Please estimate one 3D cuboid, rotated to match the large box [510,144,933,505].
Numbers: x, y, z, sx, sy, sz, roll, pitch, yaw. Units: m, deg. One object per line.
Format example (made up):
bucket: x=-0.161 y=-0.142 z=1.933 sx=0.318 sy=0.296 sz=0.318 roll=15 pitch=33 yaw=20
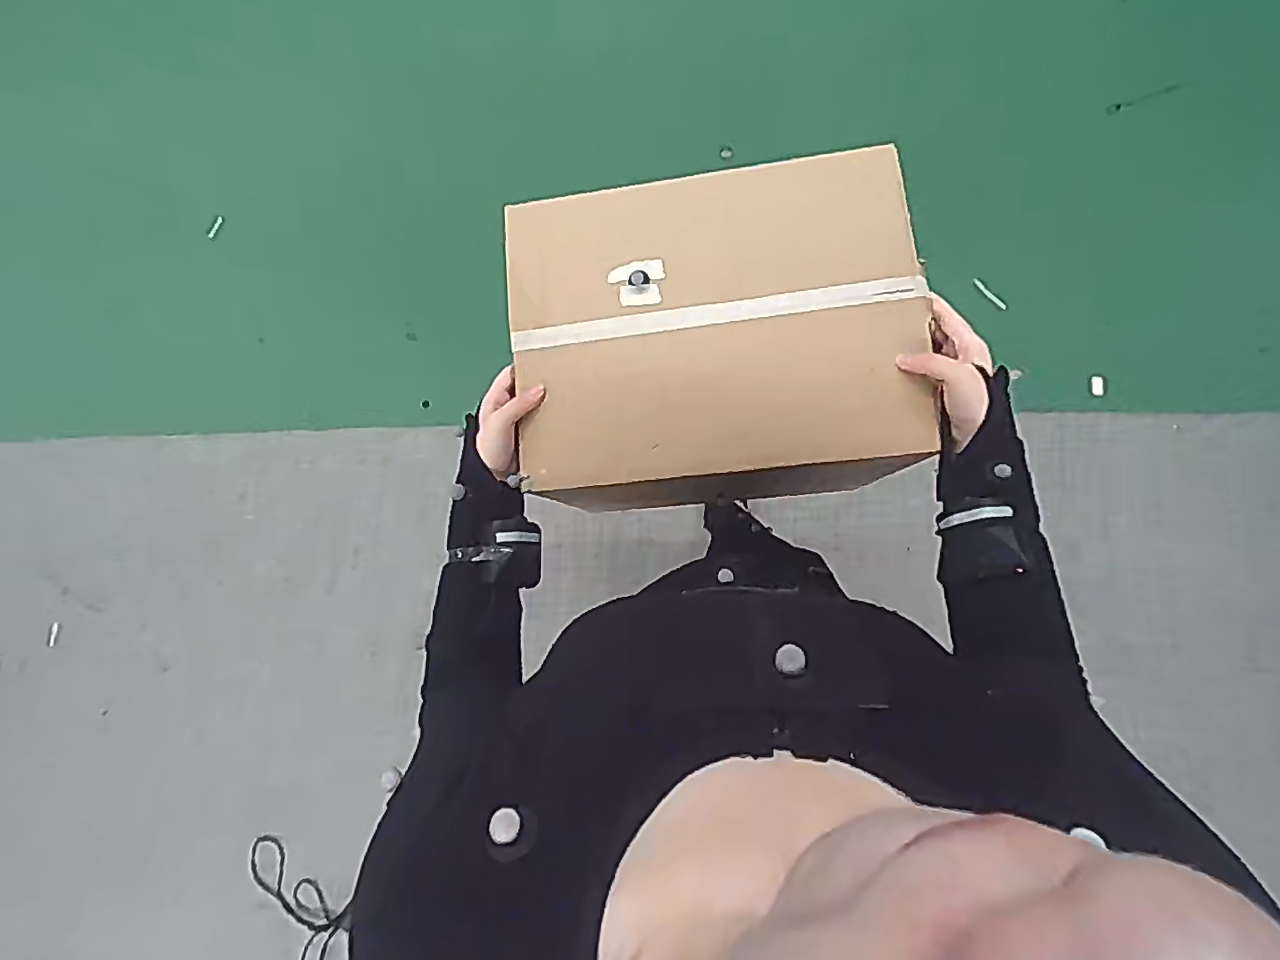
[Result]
large box: x=0.089 y=-0.149 z=0.696 sx=0.408 sy=0.320 sz=0.320 roll=-6 pitch=81 yaw=8
